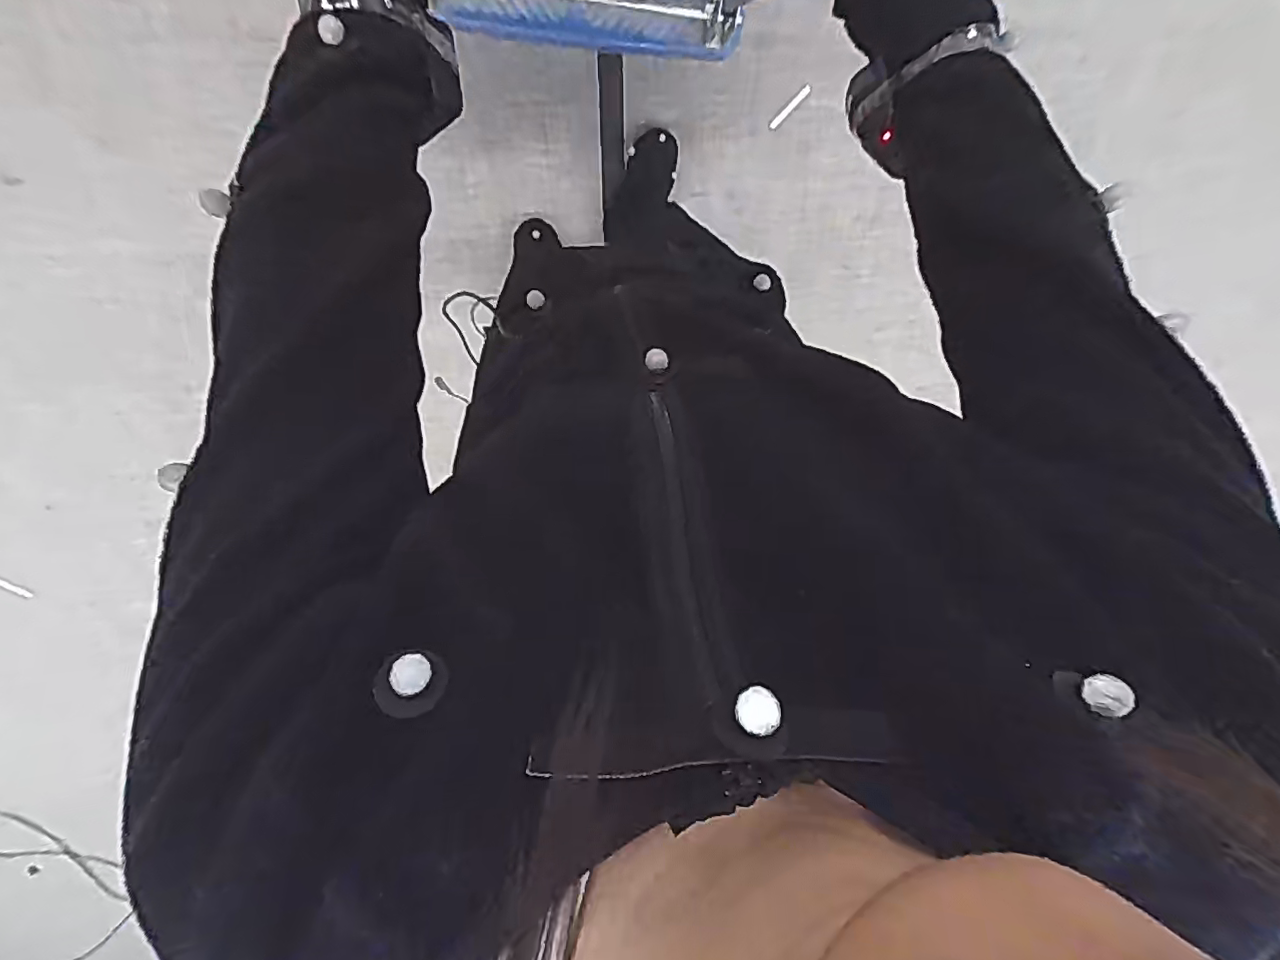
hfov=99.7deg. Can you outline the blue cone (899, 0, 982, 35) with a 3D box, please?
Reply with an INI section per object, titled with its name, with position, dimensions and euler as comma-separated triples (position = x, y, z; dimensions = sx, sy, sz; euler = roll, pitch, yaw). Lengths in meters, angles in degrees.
[blue cone]
position = 0.646, -0.941, 0.949
dimensions = 0.193, 0.380, 0.192
euler = -10, 121, -7
